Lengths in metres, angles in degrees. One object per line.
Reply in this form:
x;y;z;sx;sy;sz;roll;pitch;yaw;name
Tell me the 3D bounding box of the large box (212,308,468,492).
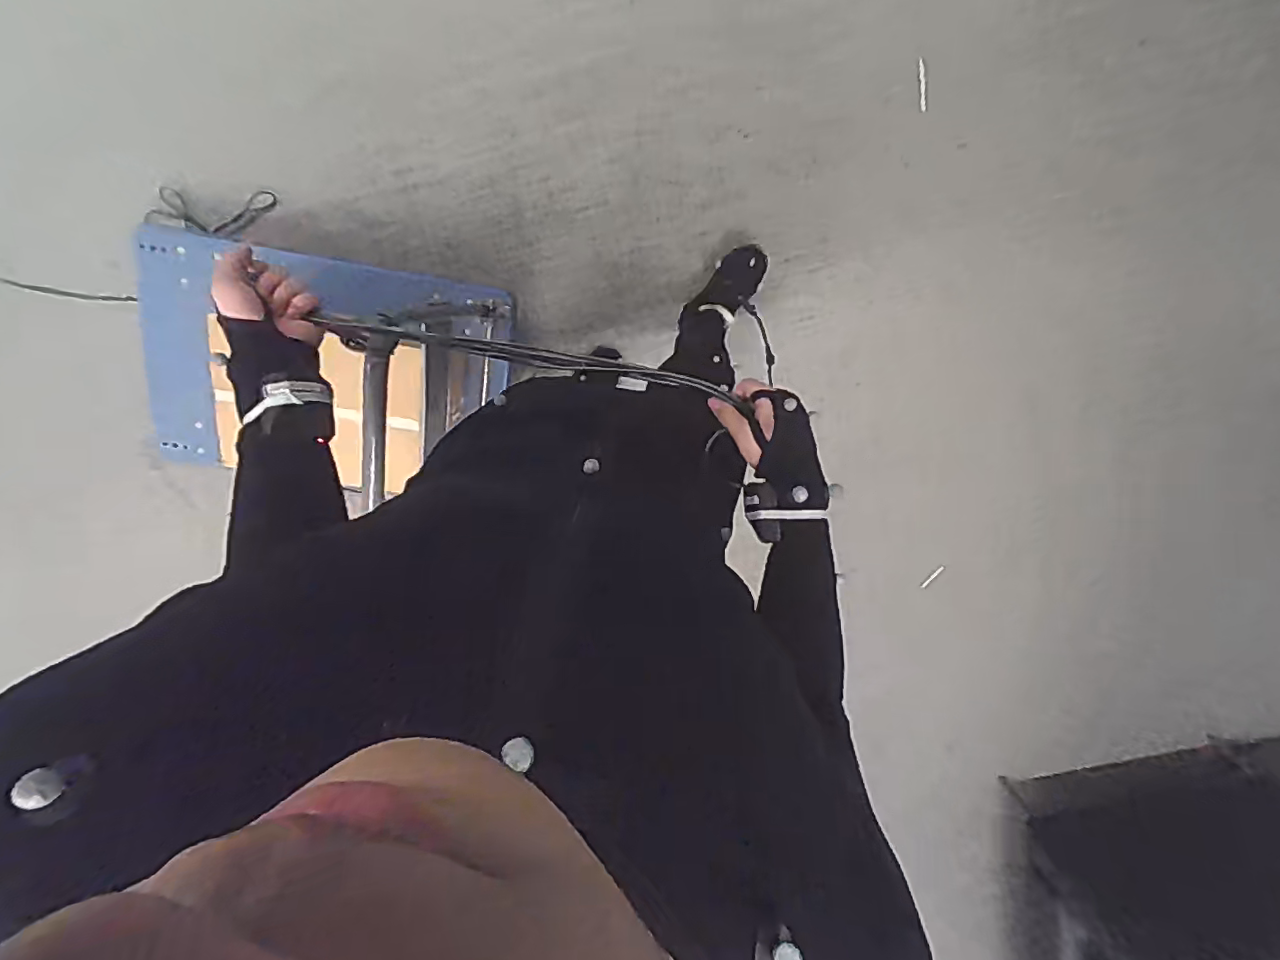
-0.631;-0.192;1.213;0.408;0.320;0.320;9;109;-4;large box
